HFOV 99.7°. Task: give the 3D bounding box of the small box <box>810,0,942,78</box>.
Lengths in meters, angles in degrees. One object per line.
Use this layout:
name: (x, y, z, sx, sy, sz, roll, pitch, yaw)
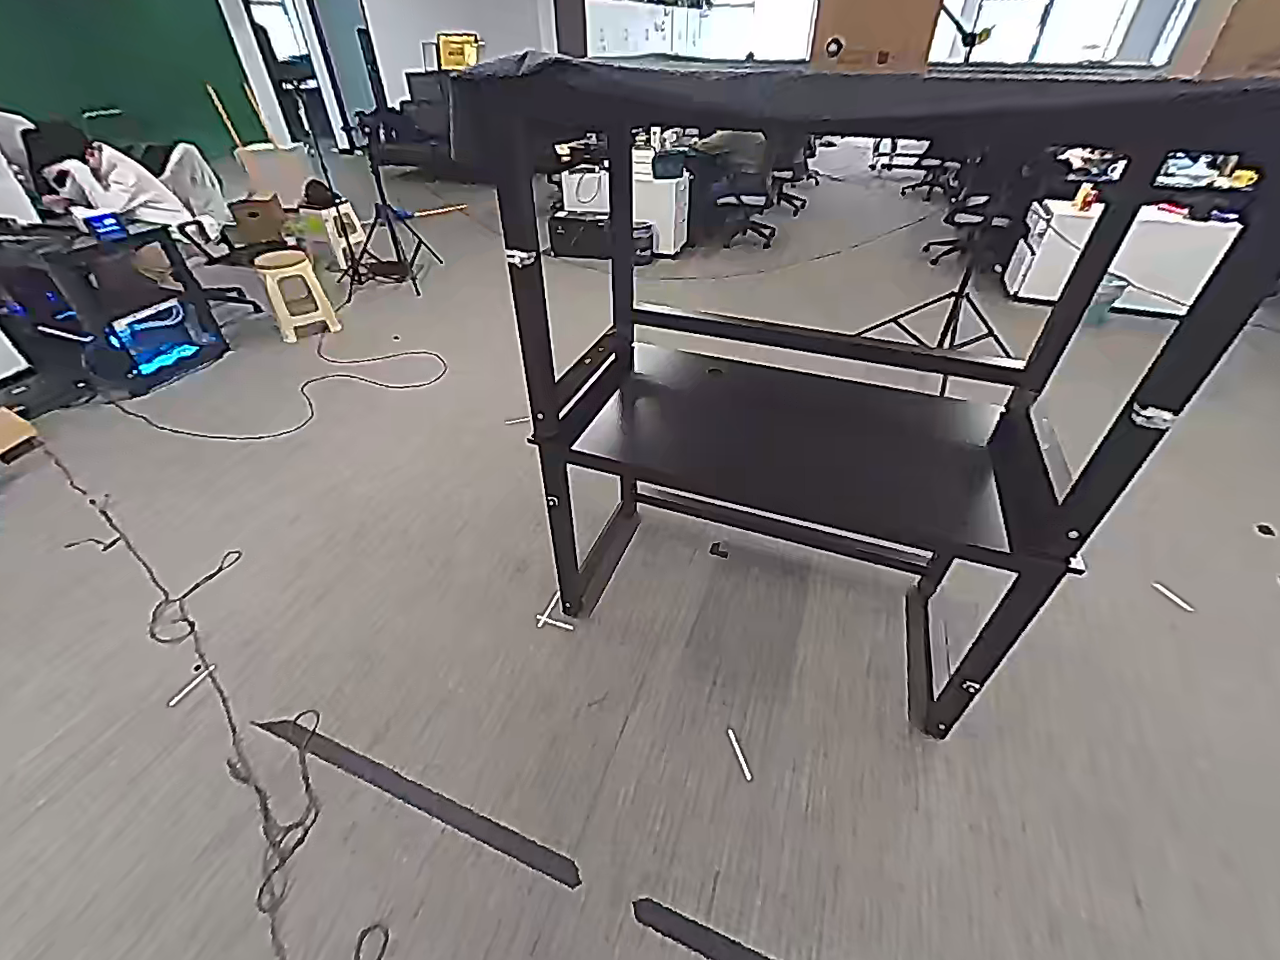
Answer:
small box: (0.356, -0.705, 0.802, 0.168, 0.176, 0.179, 13, 39, 16)
